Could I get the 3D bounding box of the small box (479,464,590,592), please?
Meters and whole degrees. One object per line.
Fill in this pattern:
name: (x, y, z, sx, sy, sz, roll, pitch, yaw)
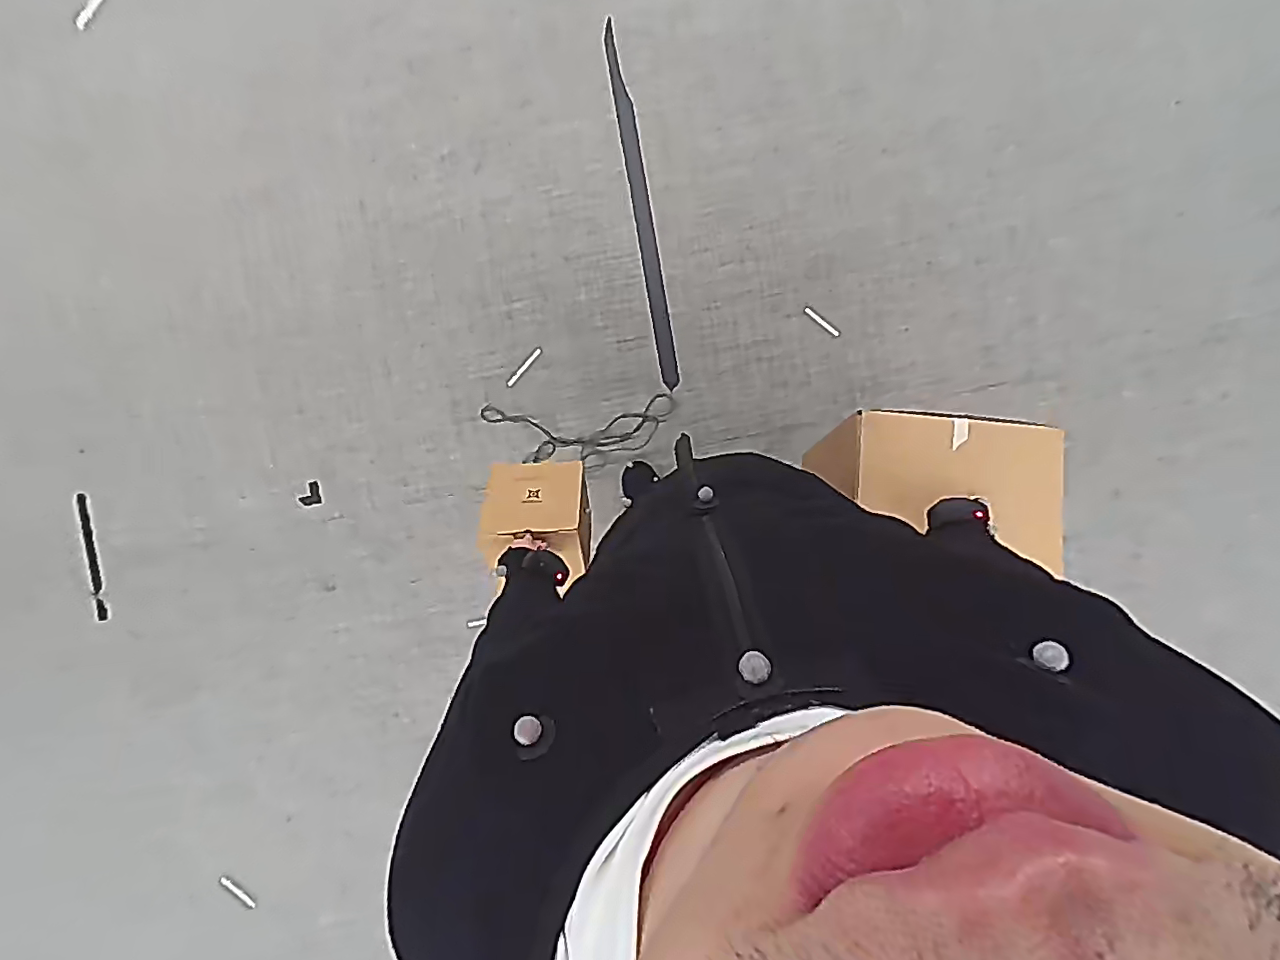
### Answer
small box: (-0.181, 0.092, 0.992, 0.168, 0.179, 0.176, -2, 131, -1)
